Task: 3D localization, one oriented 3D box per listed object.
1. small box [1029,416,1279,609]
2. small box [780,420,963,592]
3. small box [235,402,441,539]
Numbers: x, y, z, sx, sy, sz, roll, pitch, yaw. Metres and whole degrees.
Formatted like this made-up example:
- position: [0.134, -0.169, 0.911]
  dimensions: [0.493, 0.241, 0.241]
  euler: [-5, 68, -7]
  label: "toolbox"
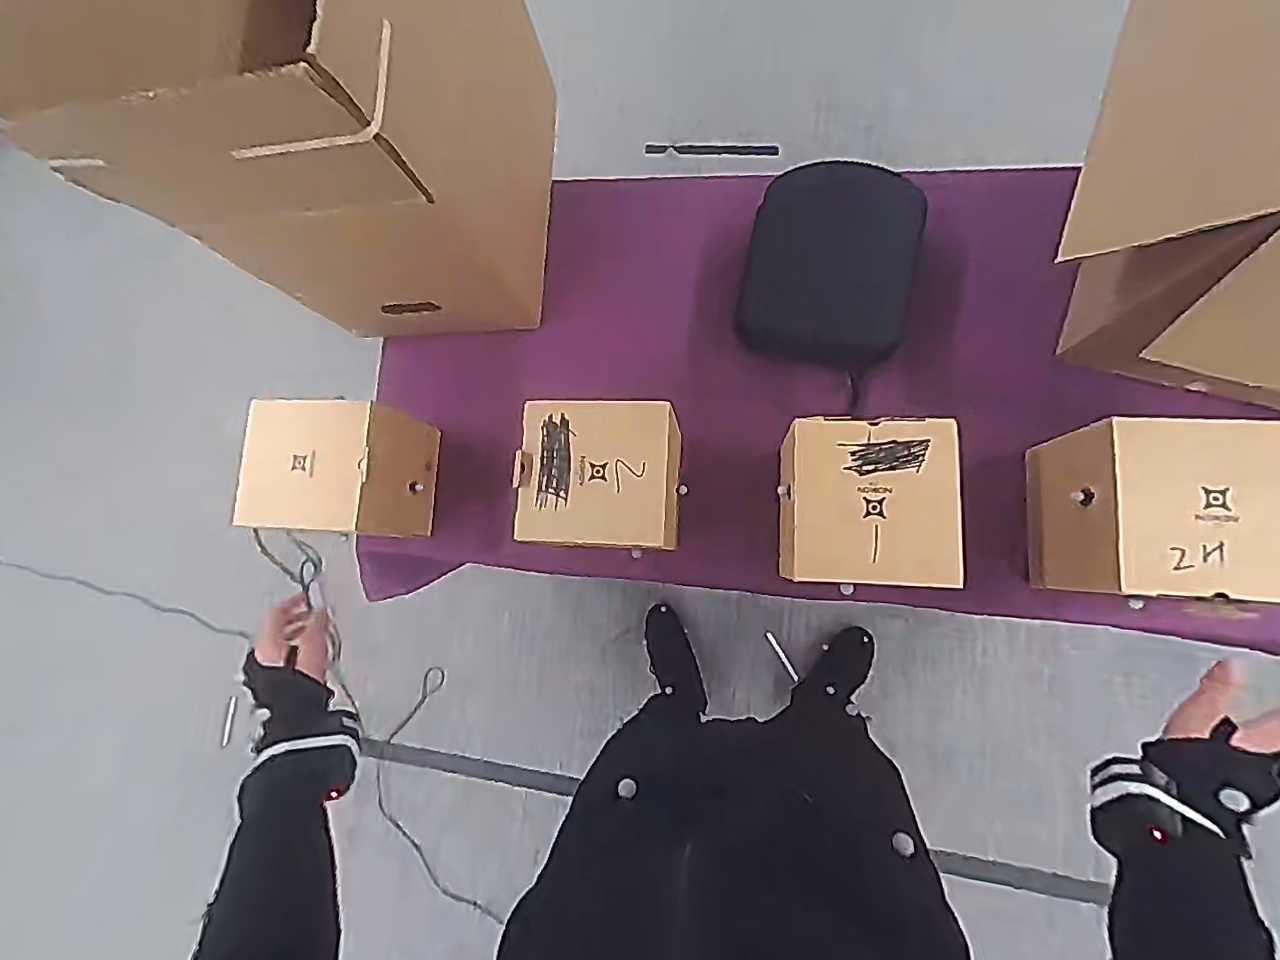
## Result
- position: [0.553, 0.040, 0.586]
  dimensions: [0.168, 0.176, 0.179]
  euler: [3, 82, 11]
  label: "small box"
- position: [0.256, 0.035, 0.637]
  dimensions: [0.168, 0.176, 0.179]
  euler: [1, 82, 10]
  label: "small box"
- position: [-0.407, -0.005, 0.754]
  dimensions: [0.179, 0.176, 0.168]
  euler: [1, 81, 8]
  label: "small box"
